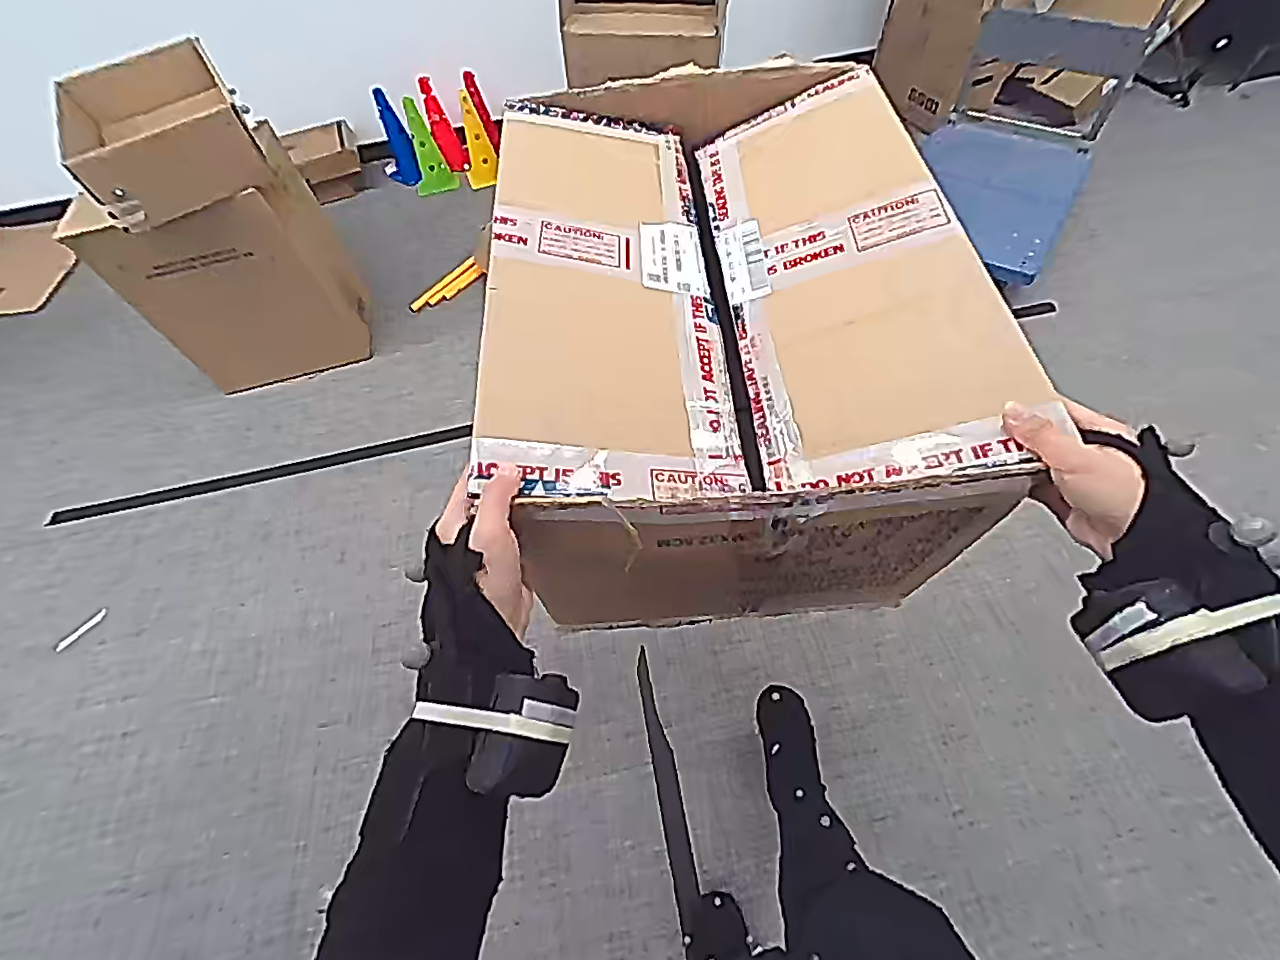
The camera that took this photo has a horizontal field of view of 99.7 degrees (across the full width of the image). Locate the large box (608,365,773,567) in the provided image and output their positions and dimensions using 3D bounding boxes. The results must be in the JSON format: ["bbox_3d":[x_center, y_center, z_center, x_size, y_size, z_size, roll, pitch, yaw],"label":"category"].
[{"bbox_3d":[0.118,-0.034,1.440,0.320,0.320,0.408,-13,58,-3],"label":"large box"}]
